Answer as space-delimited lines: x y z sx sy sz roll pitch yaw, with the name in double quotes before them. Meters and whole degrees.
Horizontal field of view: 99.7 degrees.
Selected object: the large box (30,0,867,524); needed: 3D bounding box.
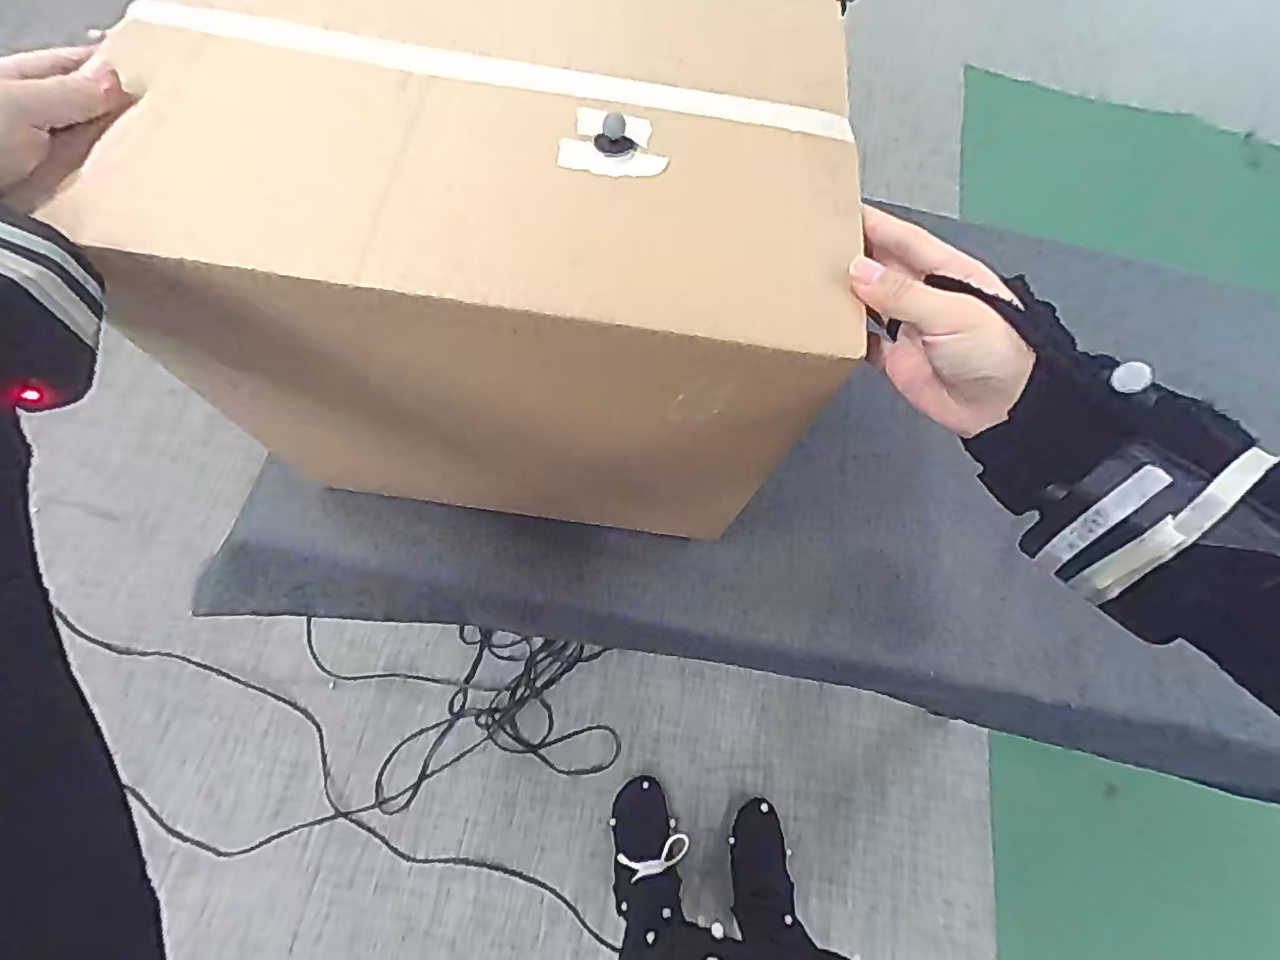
"large box" -0.086 -0.172 0.451 0.408 0.320 0.320 8 68 -4
